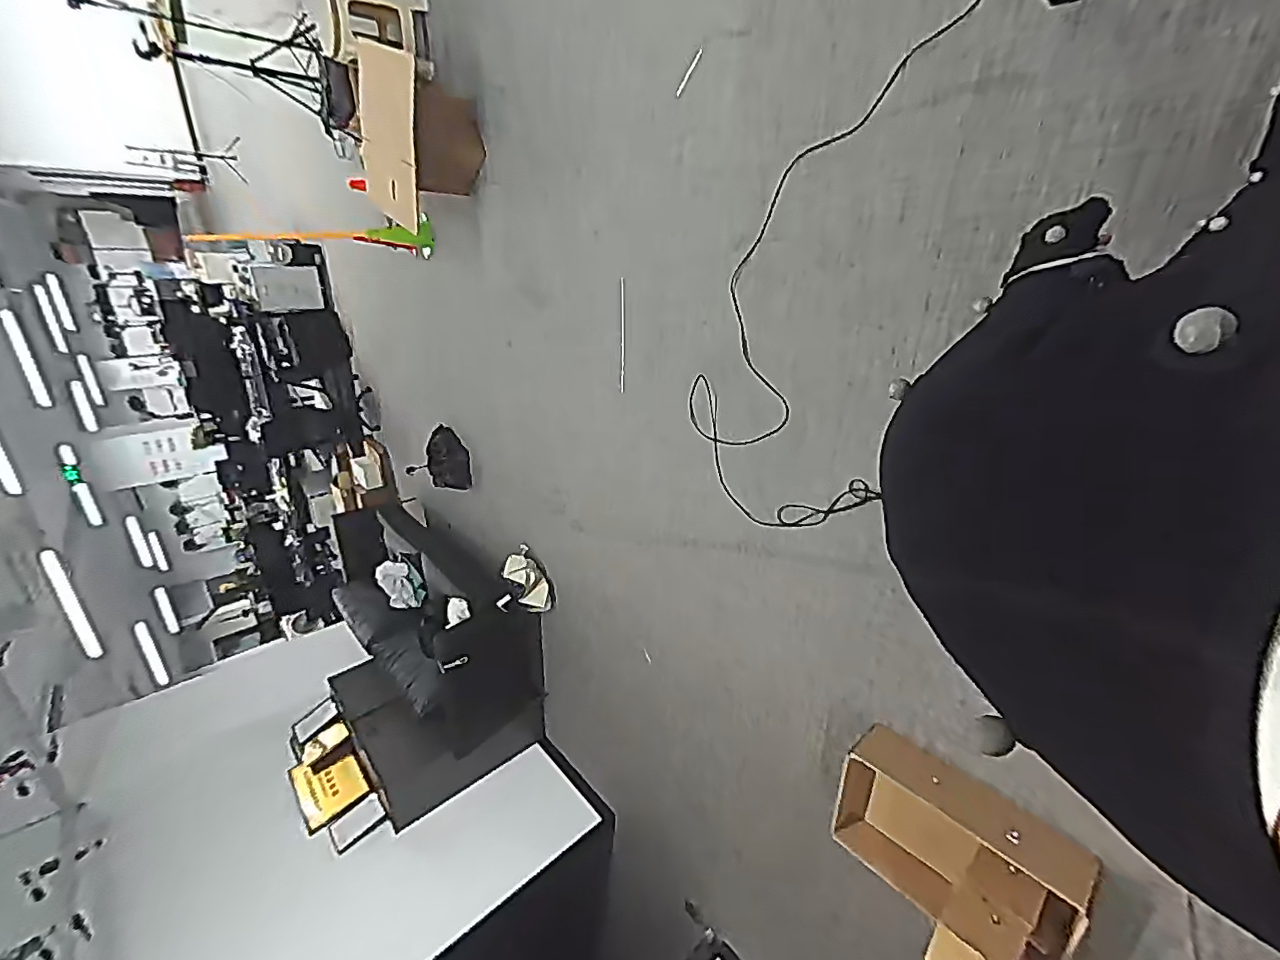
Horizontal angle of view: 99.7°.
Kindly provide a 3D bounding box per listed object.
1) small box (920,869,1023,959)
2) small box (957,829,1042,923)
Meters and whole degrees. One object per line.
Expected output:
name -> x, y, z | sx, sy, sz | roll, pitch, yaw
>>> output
small box -> 0.859, 1.176, 1.401 | 0.168, 0.176, 0.179 | 24, 123, 43
small box -> 0.980, 1.130, 1.500 | 0.168, 0.176, 0.179 | 25, 124, 42
